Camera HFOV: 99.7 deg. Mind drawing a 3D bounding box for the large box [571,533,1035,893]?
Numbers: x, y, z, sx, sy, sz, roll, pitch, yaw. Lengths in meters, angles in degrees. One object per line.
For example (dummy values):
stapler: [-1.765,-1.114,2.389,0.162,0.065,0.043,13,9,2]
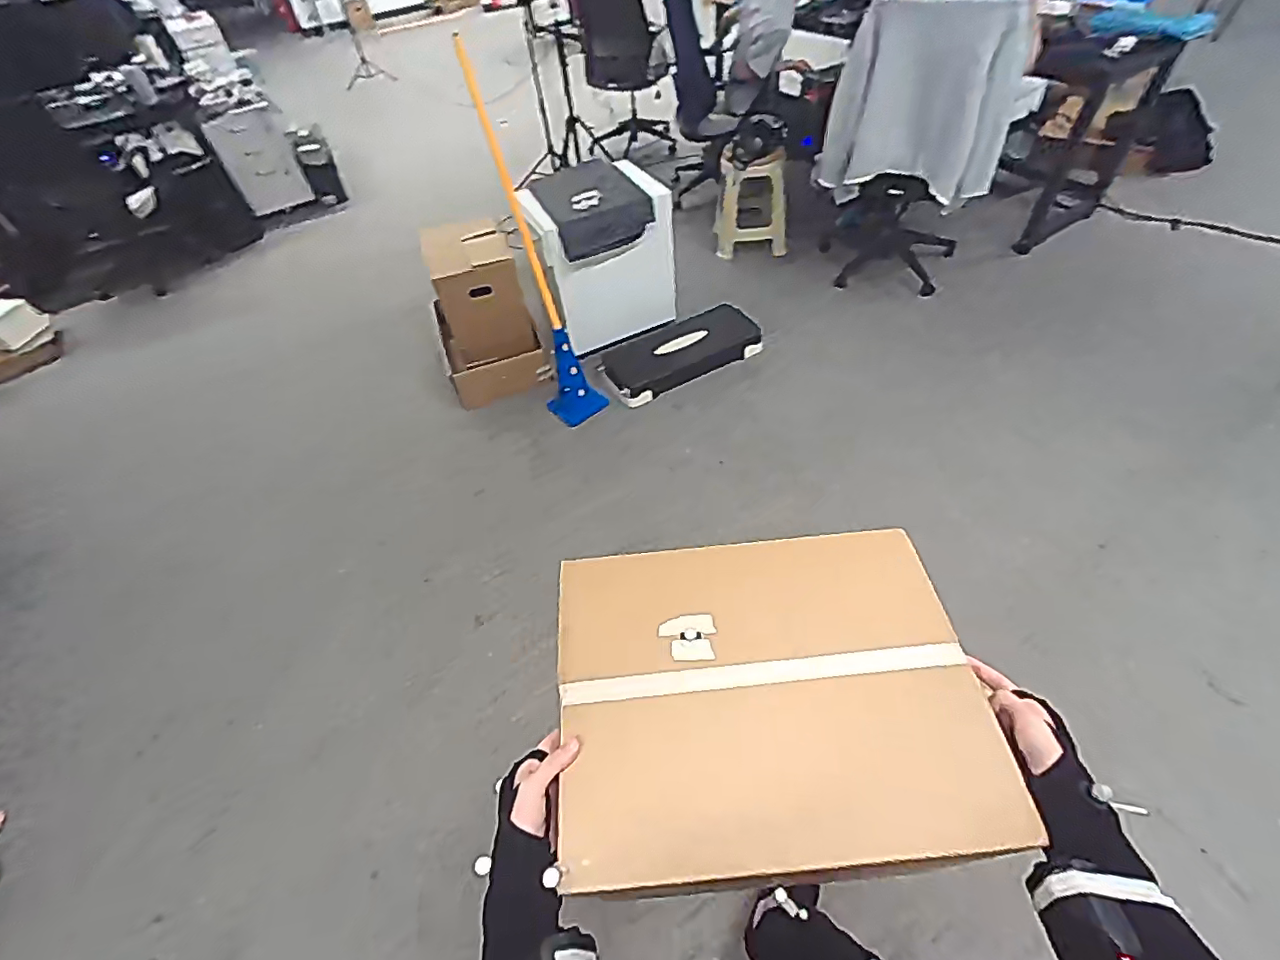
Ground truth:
large box: [0.141,0.295,0.665,0.408,0.320,0.320,-6,50,1]
